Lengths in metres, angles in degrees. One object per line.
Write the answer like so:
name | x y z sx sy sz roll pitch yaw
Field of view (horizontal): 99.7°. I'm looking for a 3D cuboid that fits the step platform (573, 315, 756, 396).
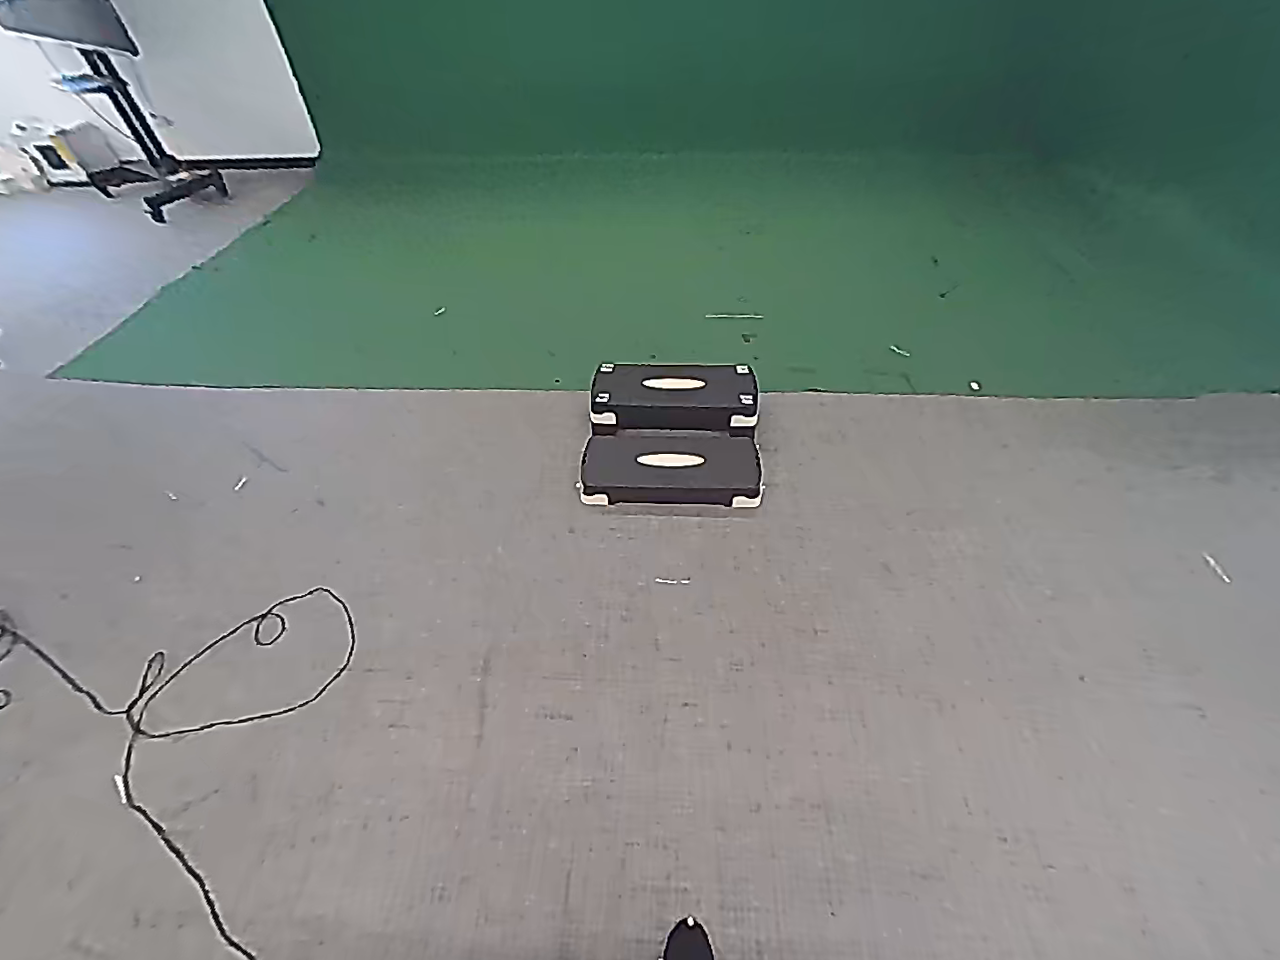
step platform | 0.094 -0.483 2.100 0.684 0.204 0.286 1 47 3
